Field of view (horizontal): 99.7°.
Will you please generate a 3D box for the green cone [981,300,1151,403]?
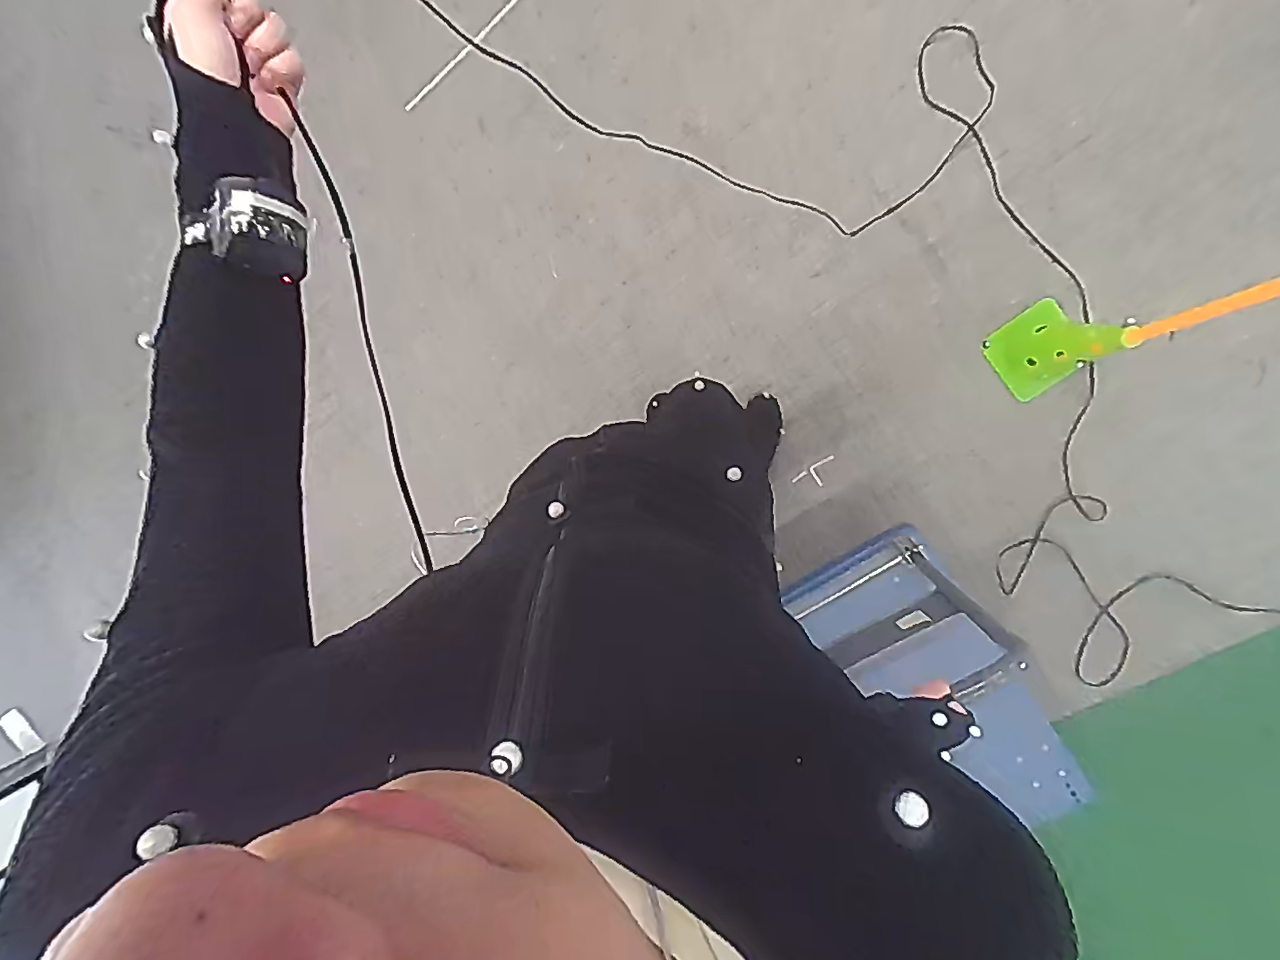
[{"bbox_3d":[0.987,-0.300,1.217,0.202,0.368,0.200,-37,92,12],"label":"green cone"}]
